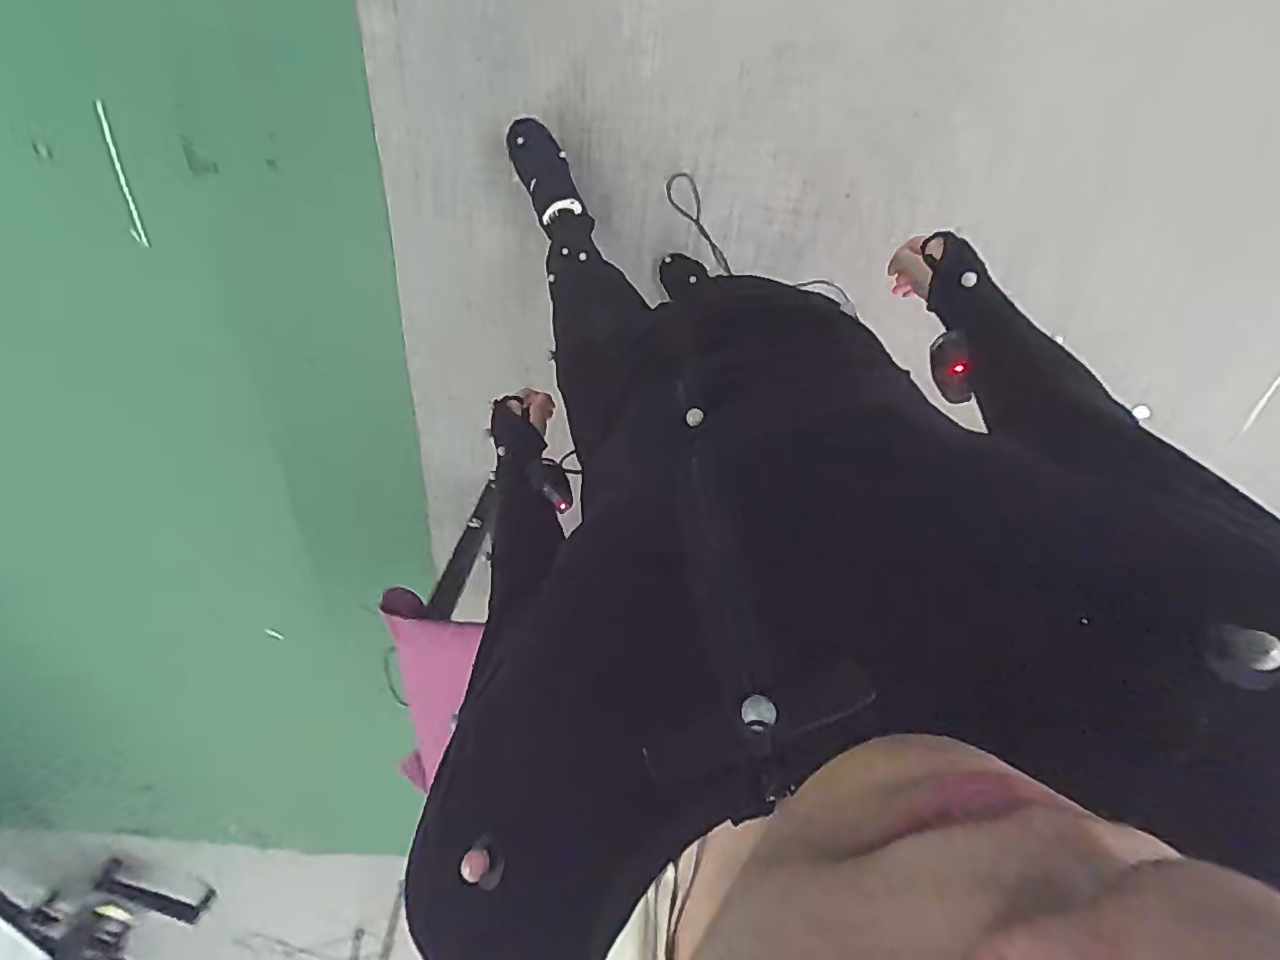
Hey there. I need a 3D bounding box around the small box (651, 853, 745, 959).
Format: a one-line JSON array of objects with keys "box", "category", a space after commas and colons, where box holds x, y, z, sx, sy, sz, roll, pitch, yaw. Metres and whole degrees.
[{"box": [0.110, 0.891, 1.099, 0.168, 0.176, 0.179, 4, 120, 1], "category": "small box"}]
